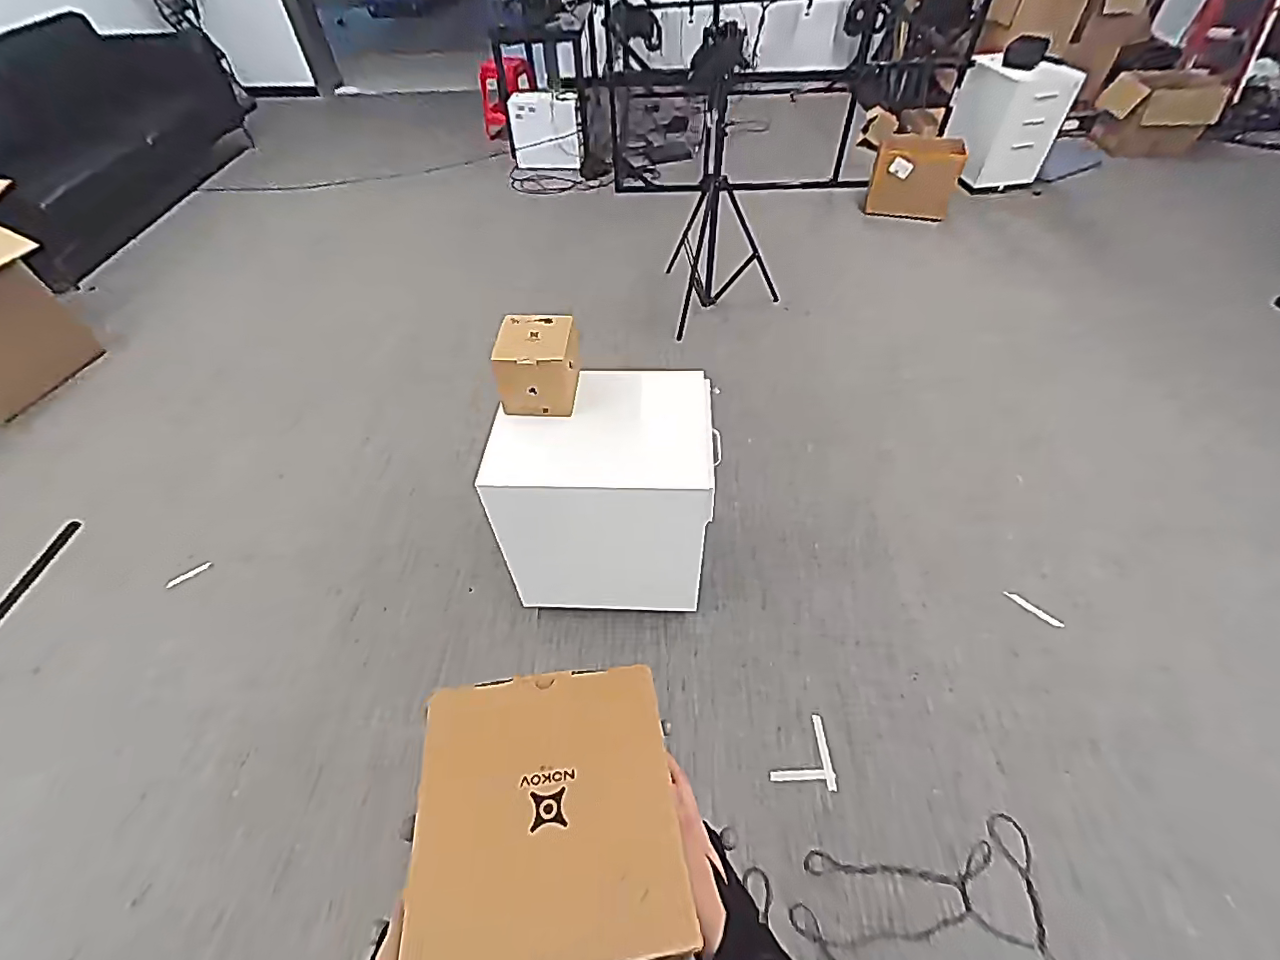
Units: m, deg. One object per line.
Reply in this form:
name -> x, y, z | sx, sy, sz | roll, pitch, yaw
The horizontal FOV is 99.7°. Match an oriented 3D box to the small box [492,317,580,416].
small box -> -0.239, -0.269, 1.297 | 0.168, 0.176, 0.179 | 1, 51, 2

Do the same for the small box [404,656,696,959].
small box -> -0.062, 0.262, 0.408 | 0.168, 0.176, 0.179 | -4, 42, -9
